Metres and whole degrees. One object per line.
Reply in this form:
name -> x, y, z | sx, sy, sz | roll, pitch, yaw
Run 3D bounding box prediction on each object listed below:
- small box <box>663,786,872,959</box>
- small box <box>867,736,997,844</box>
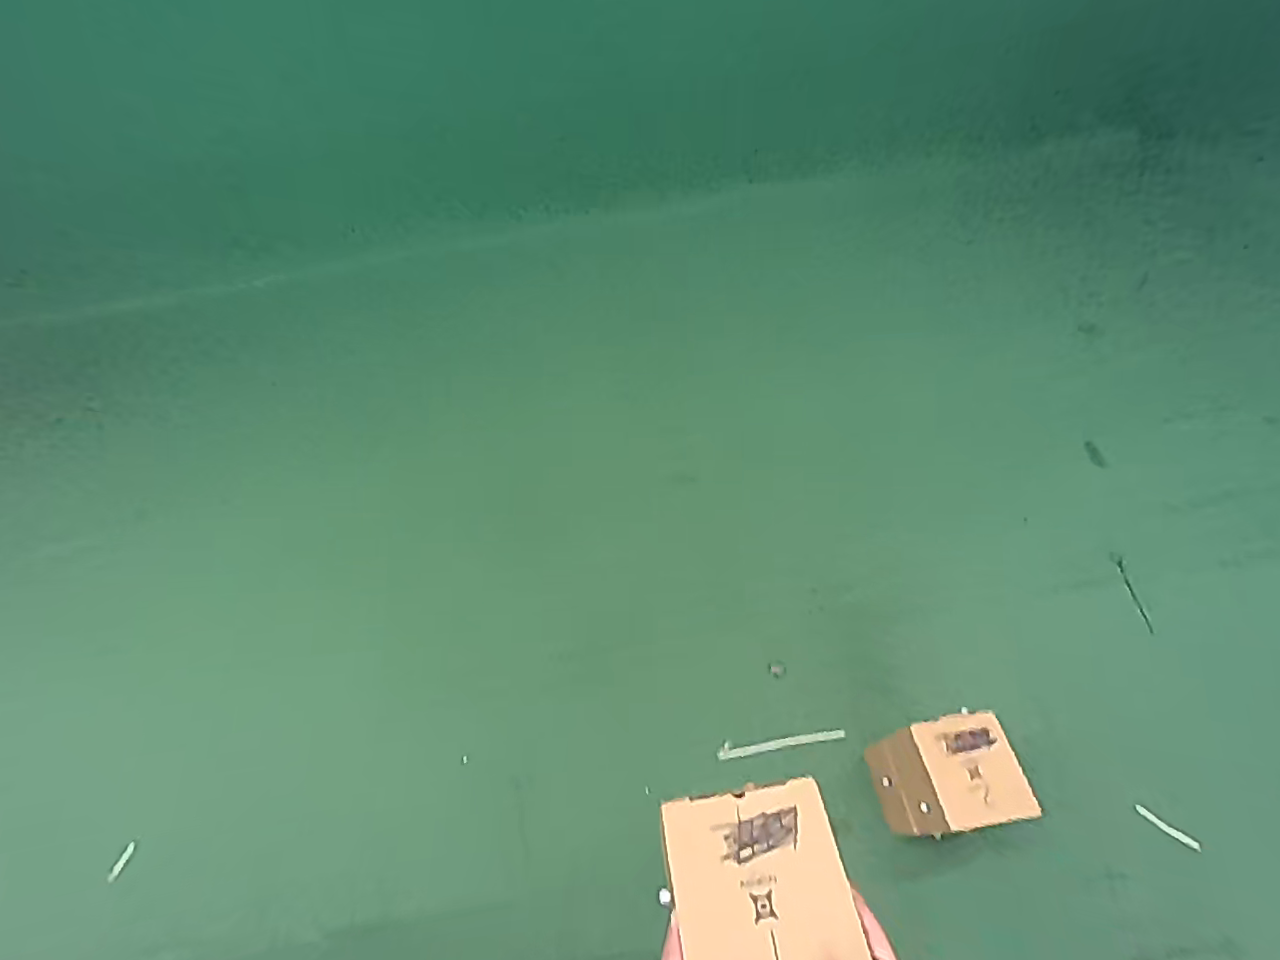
small box -> 0.116, 0.438, 0.554 | 0.168, 0.176, 0.179 | -8, 51, -4
small box -> 0.620, 0.677, 1.177 | 0.168, 0.176, 0.179 | -9, 55, 0
